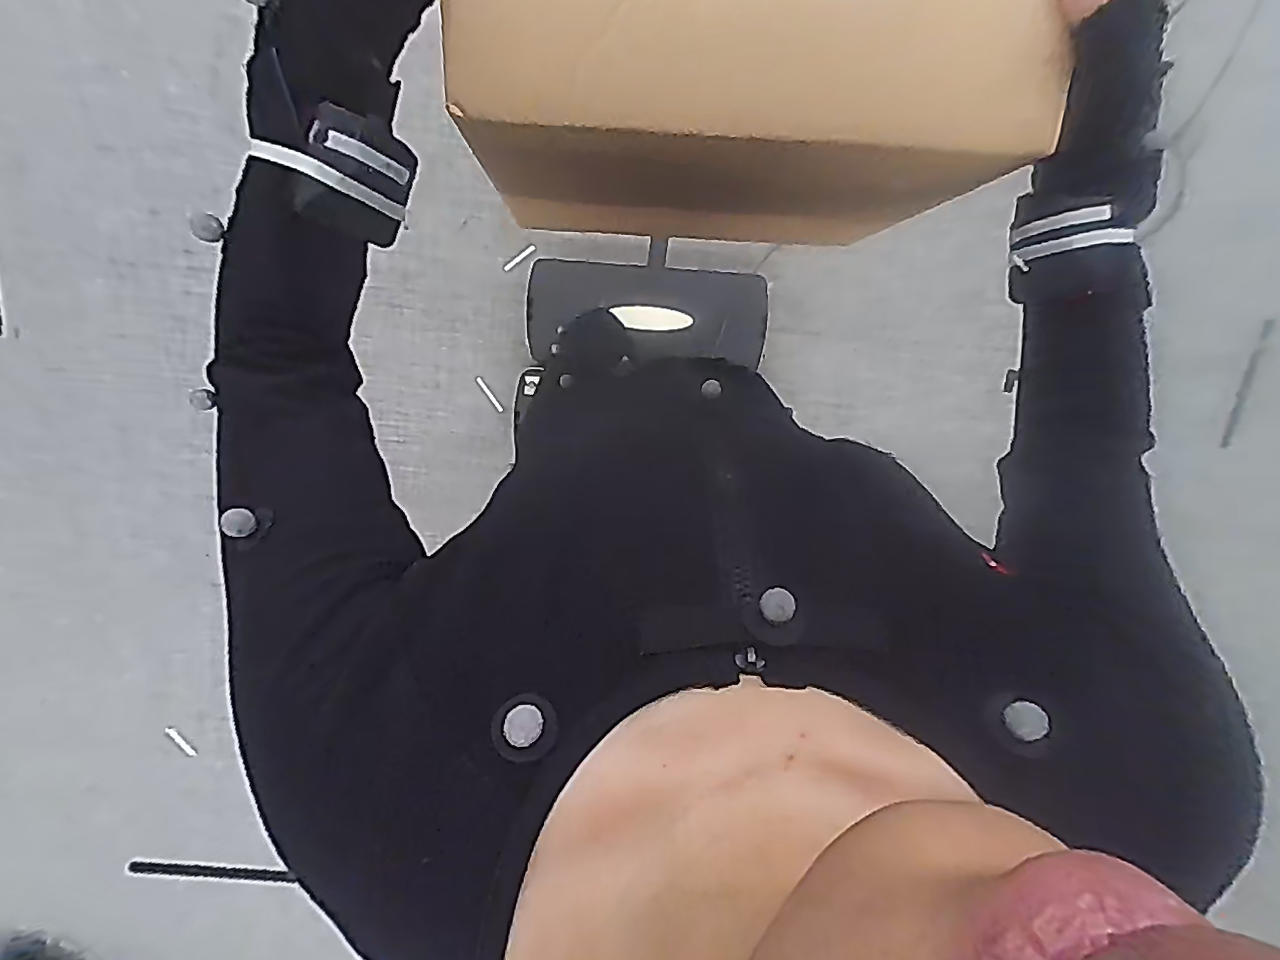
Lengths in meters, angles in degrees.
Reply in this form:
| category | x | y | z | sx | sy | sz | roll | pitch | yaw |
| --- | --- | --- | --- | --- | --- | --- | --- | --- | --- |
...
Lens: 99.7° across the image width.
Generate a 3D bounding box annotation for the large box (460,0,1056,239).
| category | x | y | z | sx | sy | sz | roll | pitch | yaw |
| --- | --- | --- | --- | --- | --- | --- | --- | --- | --- |
| large box | 0.071 | -0.415 | 0.481 | 0.408 | 0.320 | 0.320 | 0 | 103 | -5 |
